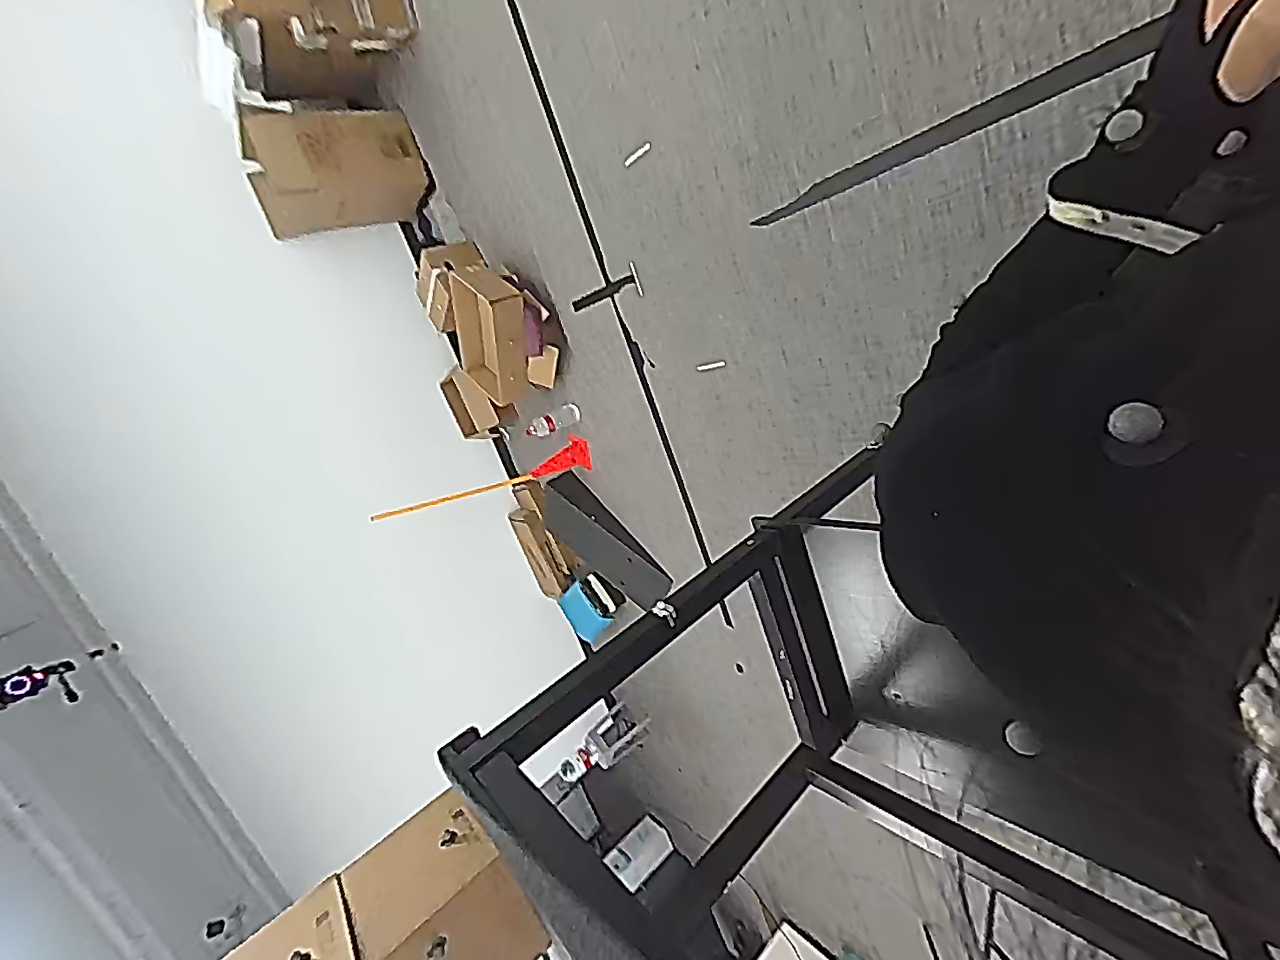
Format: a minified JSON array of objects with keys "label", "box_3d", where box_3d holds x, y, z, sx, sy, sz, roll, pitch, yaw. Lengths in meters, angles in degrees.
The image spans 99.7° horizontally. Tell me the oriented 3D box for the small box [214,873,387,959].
[{"label":"small box","box_3d":[-0.373,0.606,0.603,0.168,0.176,0.179,2,116,54]}]
